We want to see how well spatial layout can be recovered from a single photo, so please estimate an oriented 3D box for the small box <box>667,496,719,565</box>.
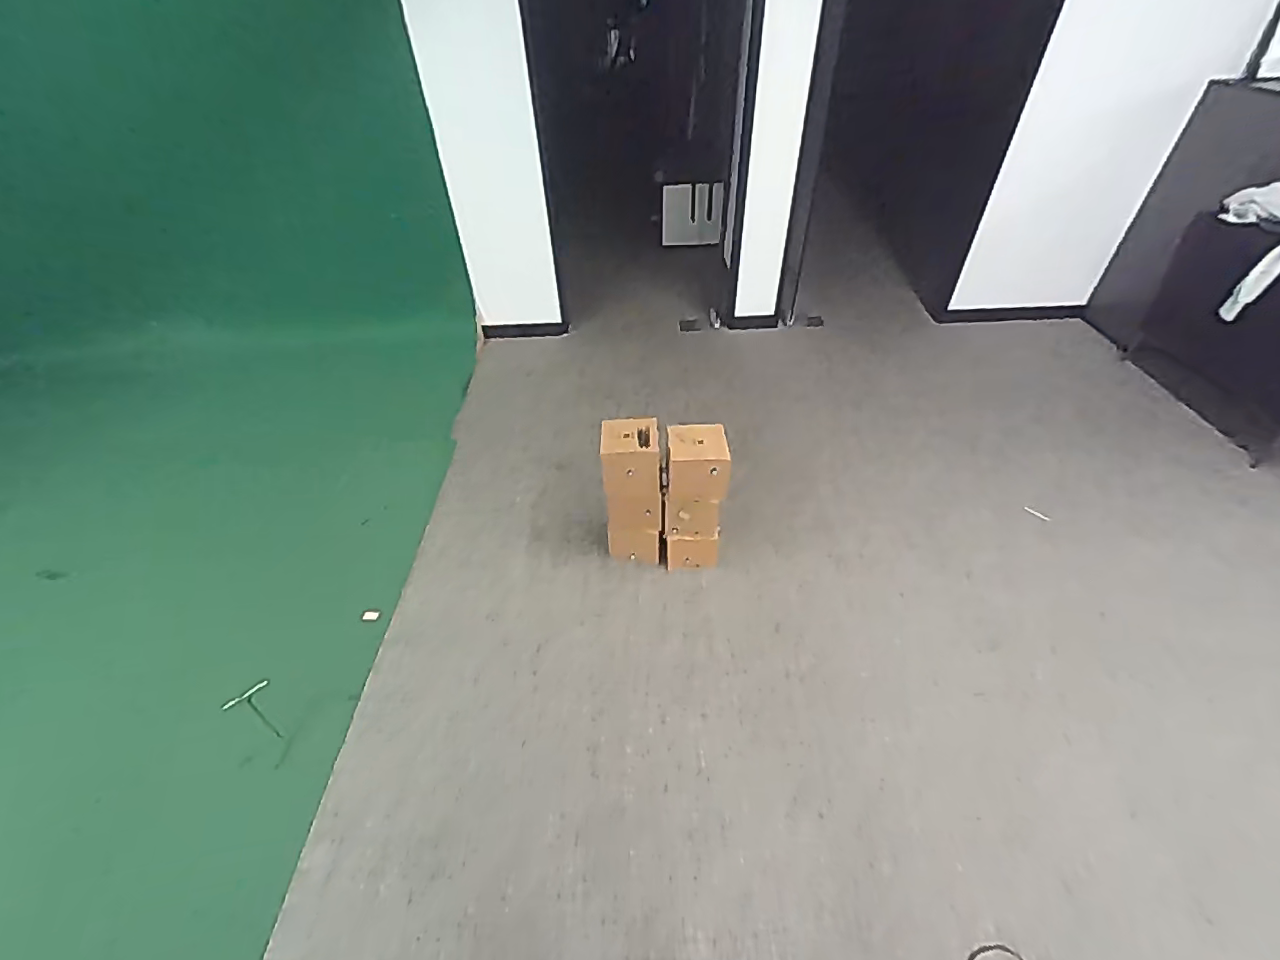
[{"bbox_3d":[0.179,0.176,1.875,0.168,0.176,0.179,-2,45,1],"label":"small box"}]
